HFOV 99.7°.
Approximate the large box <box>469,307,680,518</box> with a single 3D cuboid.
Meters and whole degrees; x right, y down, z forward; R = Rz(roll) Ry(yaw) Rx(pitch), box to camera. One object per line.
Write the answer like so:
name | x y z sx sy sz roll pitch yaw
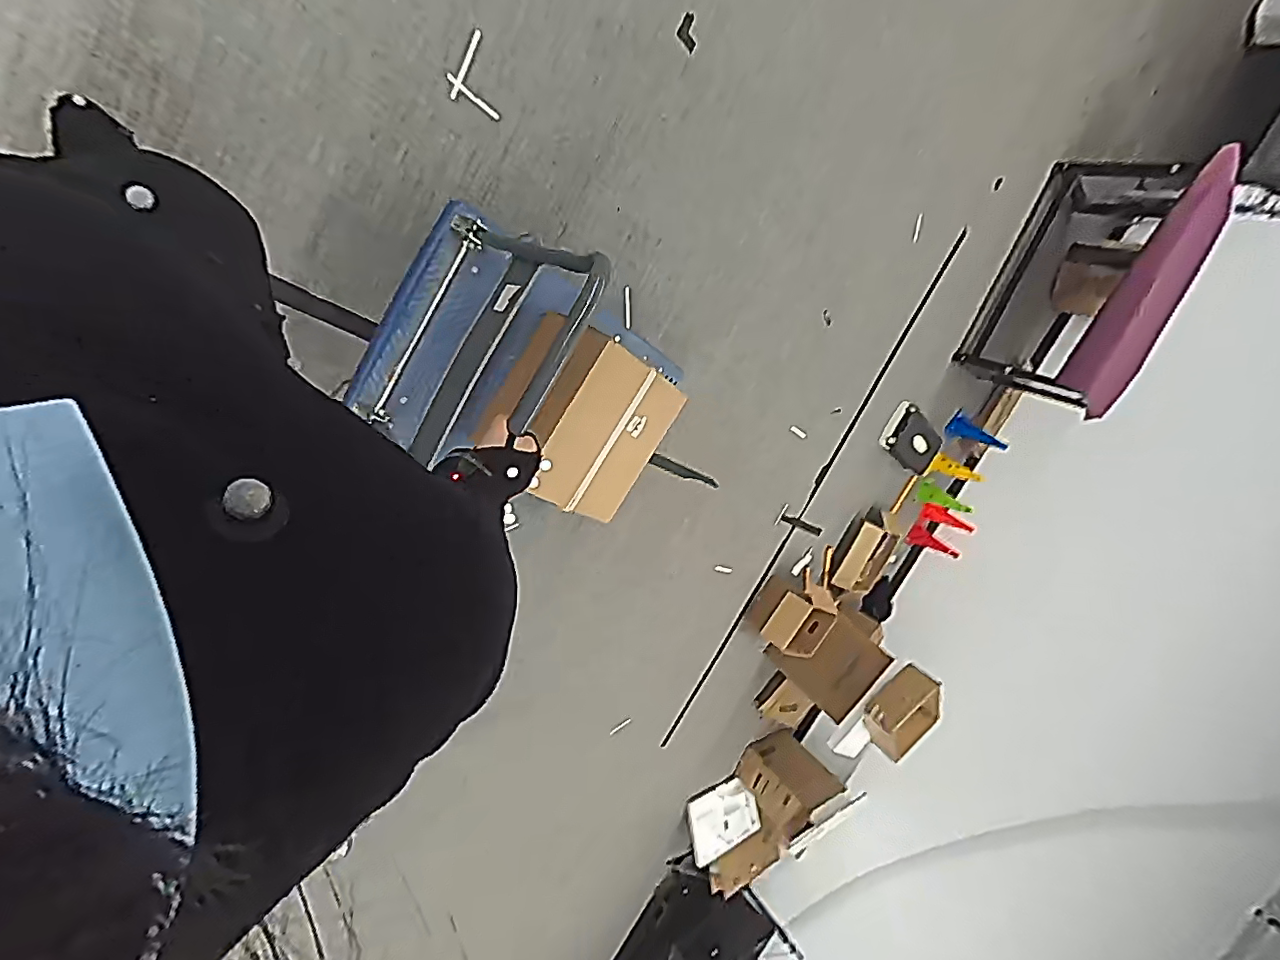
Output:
large box | -0.176 -0.172 1.408 0.320 0.320 0.408 28 95 -47
